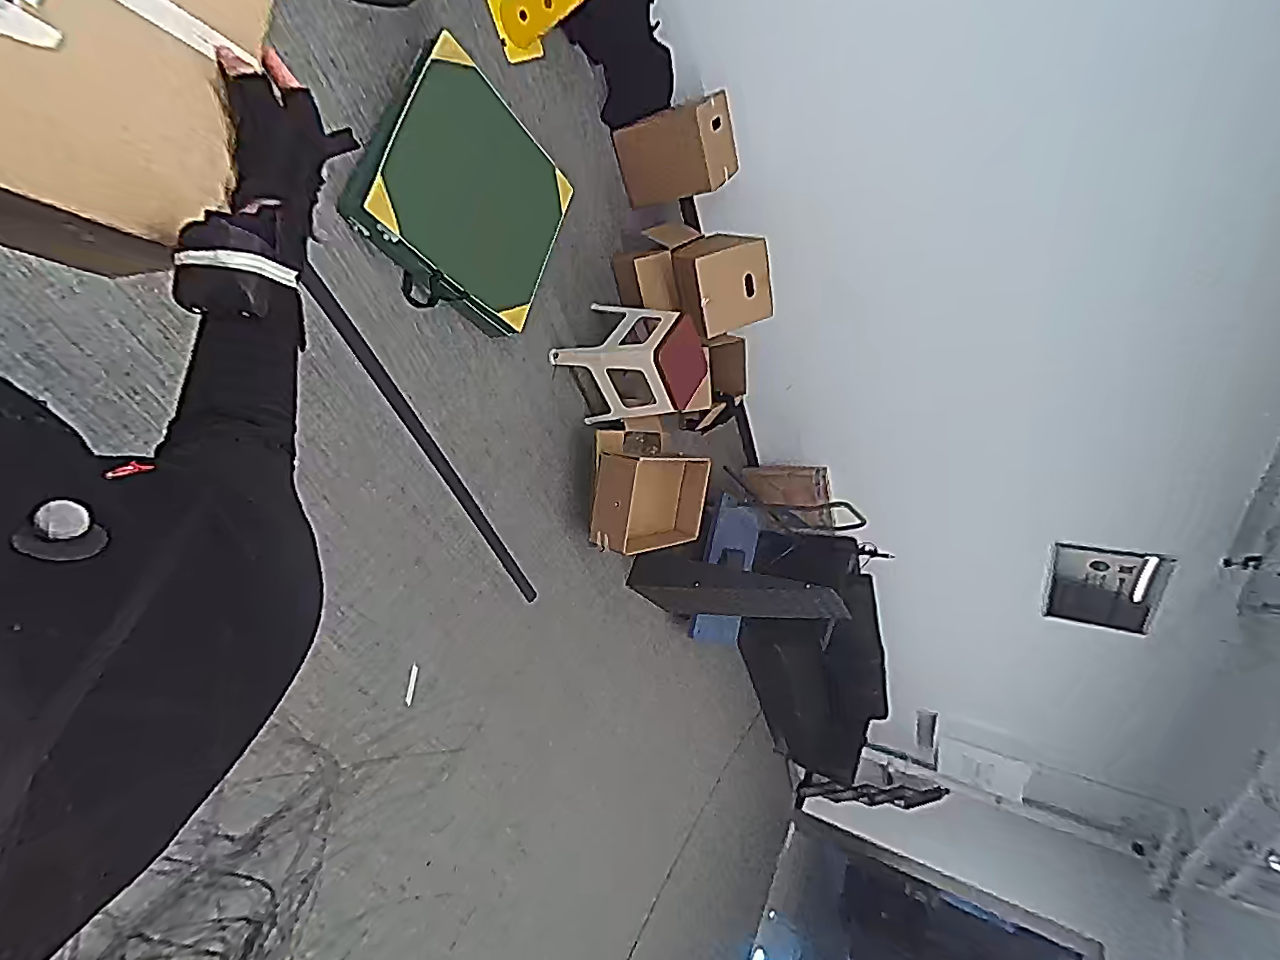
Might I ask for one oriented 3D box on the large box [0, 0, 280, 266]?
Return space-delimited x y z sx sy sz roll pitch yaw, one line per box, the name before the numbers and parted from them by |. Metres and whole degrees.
large box | -0.544 -0.380 0.367 0.408 0.320 0.320 10 92 -57
